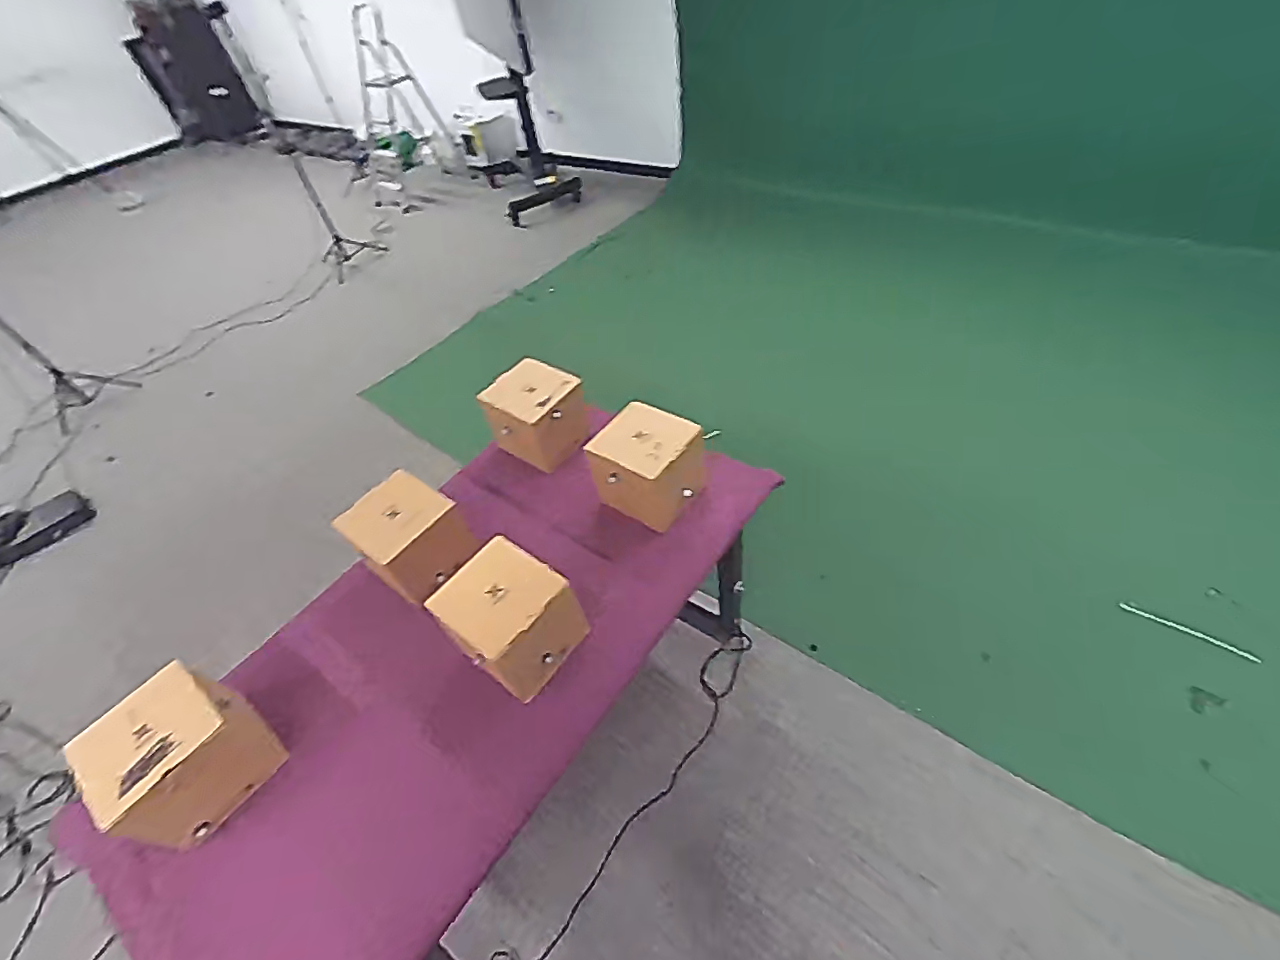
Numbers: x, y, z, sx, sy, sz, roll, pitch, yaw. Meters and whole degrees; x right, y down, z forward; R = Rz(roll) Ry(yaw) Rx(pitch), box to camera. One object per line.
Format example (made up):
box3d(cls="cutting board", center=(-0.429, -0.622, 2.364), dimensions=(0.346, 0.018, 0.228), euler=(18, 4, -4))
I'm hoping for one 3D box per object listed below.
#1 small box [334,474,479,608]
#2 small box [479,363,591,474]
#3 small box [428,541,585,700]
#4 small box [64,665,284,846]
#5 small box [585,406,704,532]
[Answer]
box3d(cls="small box", center=(-0.455, 0.124, 1.073), dimensions=(0.179, 0.176, 0.168), euler=(27, 57, 27))
box3d(cls="small box", center=(-0.240, -0.142, 1.276), dimensions=(0.179, 0.176, 0.168), euler=(26, 59, 27))
box3d(cls="small box", center=(-0.220, 0.242, 0.927), dimensions=(0.179, 0.176, 0.168), euler=(26, 56, 29))
box3d(cls="small box", center=(-0.701, 0.426, 0.832), dimensions=(0.179, 0.176, 0.168), euler=(26, 56, 28))
box3d(cls="small box", center=(0.016, -0.021, 1.124), dimensions=(0.179, 0.176, 0.168), euler=(26, 58, 30))
